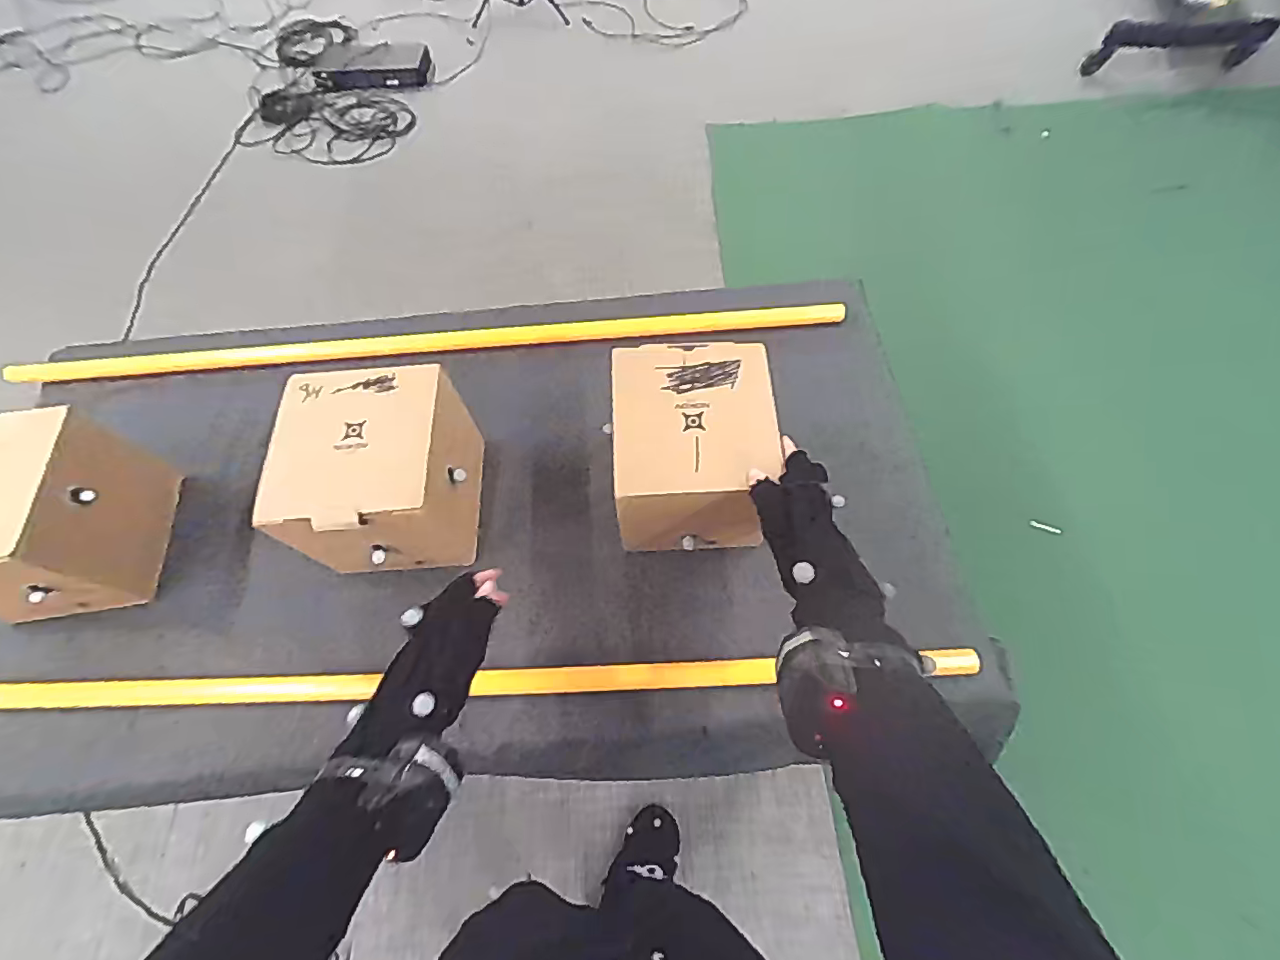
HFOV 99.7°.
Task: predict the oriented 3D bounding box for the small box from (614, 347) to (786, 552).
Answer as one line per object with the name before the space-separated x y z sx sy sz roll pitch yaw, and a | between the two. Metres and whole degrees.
small box | 0.057 -0.029 0.619 0.168 0.176 0.179 -3 65 1

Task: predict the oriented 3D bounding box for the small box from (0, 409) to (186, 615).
small box | -0.670 0.046 0.613 0.168 0.176 0.179 -8 62 -4

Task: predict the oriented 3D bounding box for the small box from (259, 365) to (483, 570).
small box | -0.288 -0.003 0.624 0.168 0.176 0.179 -7 63 0
